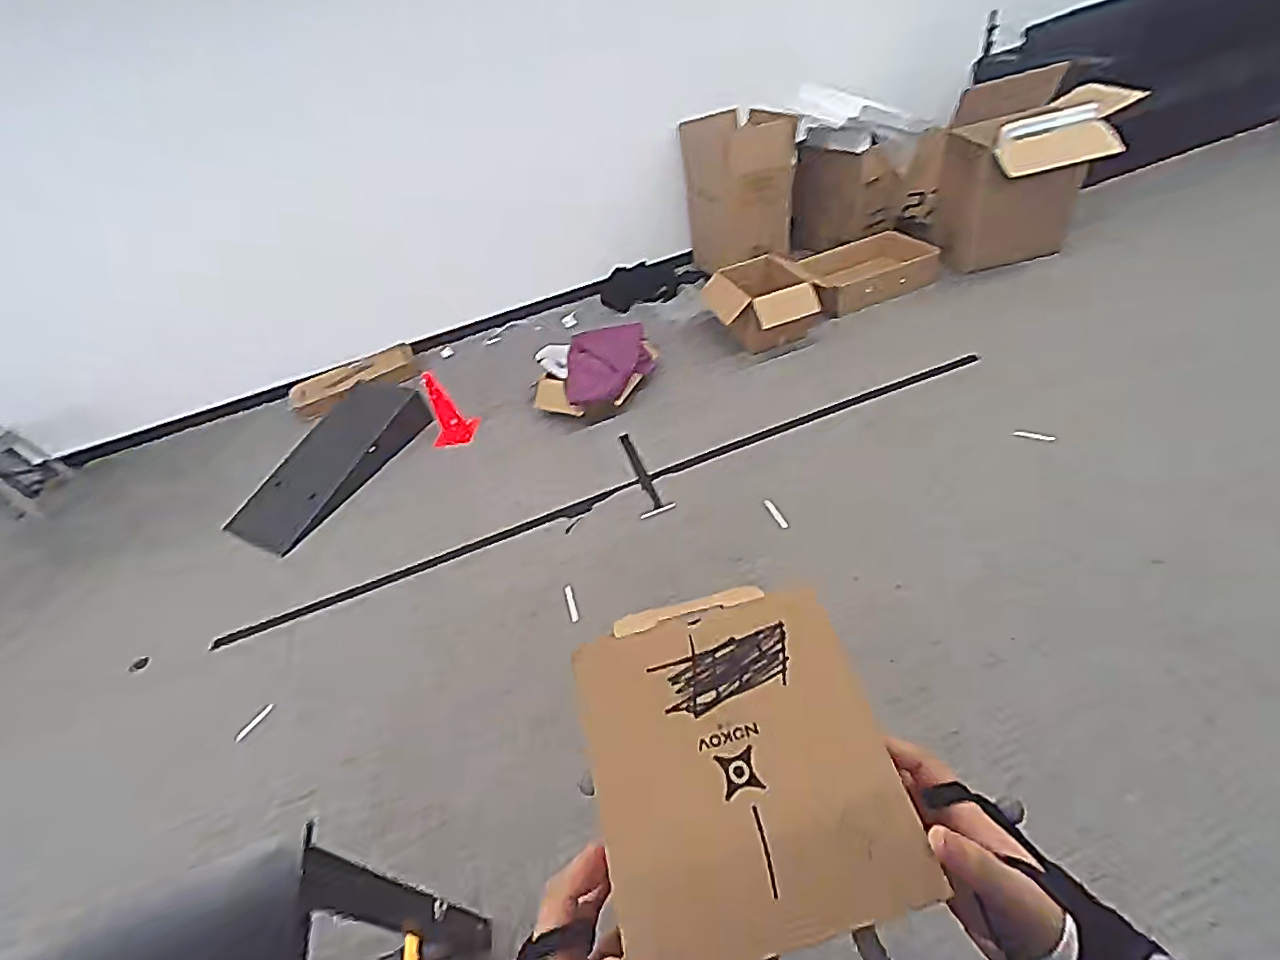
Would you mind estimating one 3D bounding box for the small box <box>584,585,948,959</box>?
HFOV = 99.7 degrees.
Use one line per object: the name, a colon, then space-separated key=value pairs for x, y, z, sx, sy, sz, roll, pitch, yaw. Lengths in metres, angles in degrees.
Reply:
small box: x=0.065 y=0.203 z=0.380 sx=0.168 sy=0.176 sz=0.179 roll=-14 pitch=54 yaw=-4
